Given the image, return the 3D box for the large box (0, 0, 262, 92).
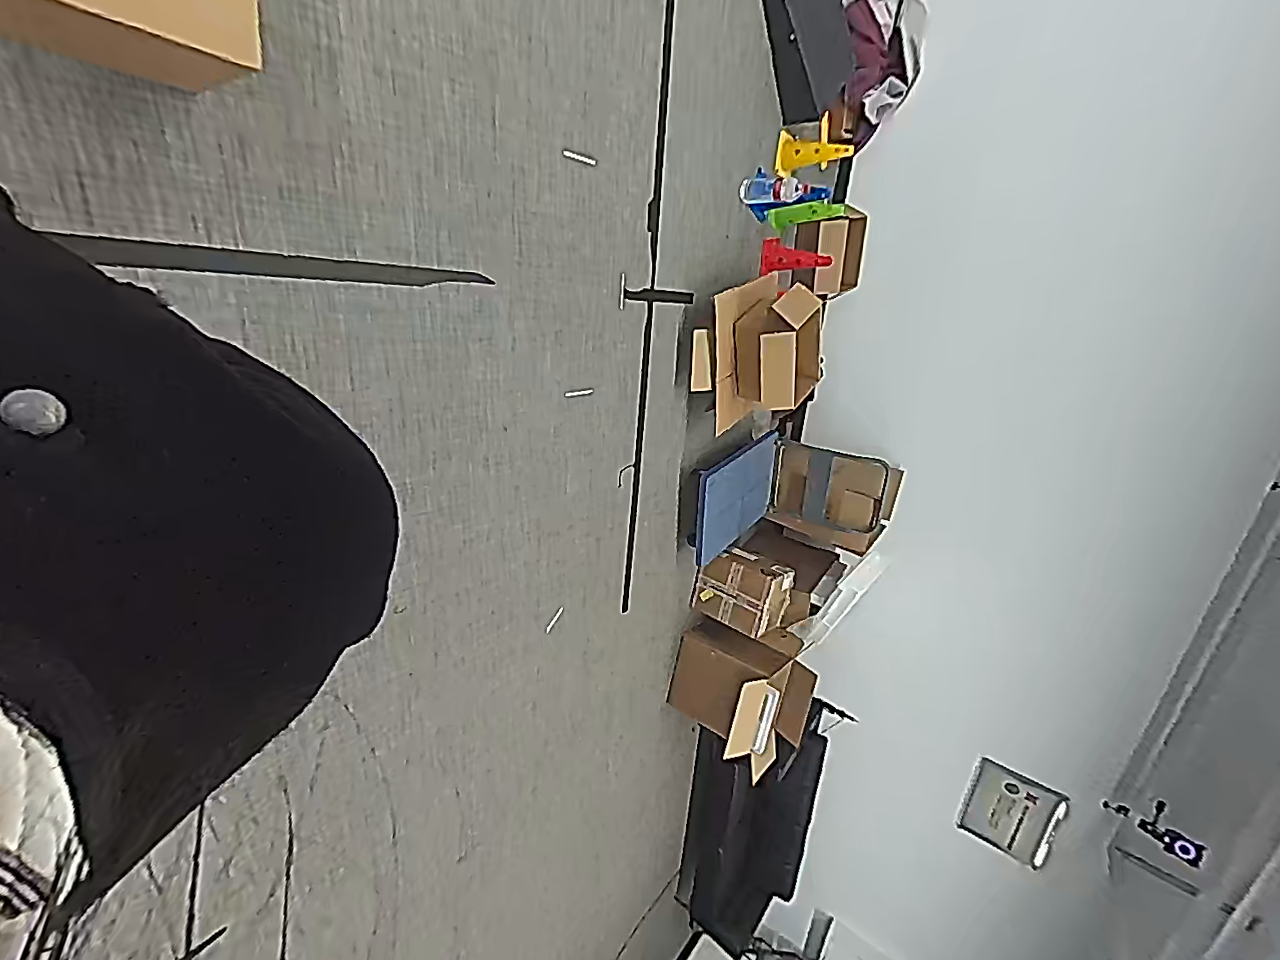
[{"bbox_3d":[-0.845,-0.818,0.770,0.408,0.320,0.320,-18,120,-52],"label":"large box"}]
